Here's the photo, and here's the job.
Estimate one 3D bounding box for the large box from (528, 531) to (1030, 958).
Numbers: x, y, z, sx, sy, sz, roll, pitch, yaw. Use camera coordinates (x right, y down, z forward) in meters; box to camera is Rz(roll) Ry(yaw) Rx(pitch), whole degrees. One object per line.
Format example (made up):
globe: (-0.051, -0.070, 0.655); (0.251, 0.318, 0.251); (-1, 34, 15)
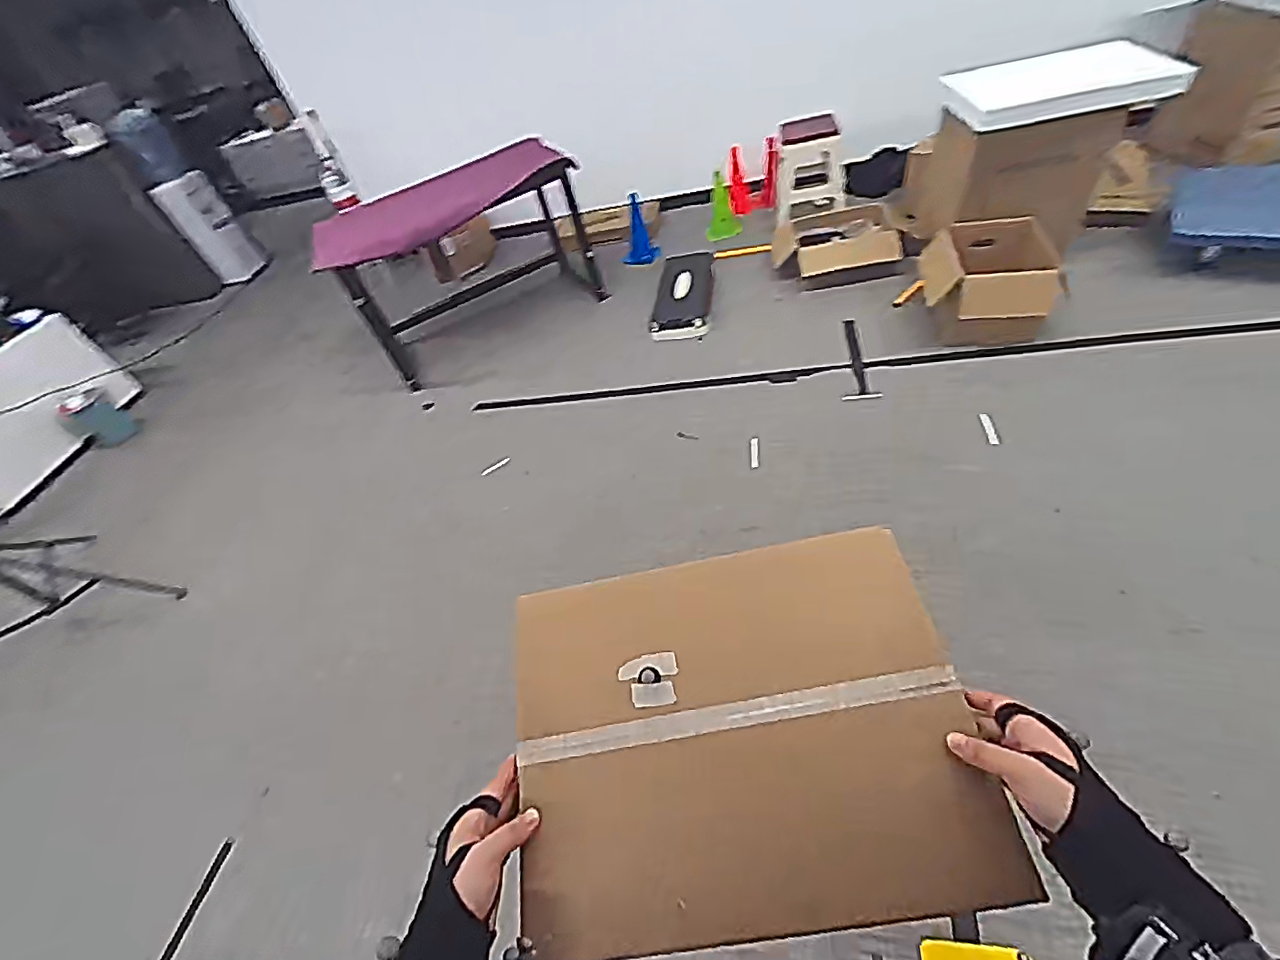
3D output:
large box: (0.118, 0.297, 0.632); (0.408, 0.320, 0.320); (-12, 57, 6)
